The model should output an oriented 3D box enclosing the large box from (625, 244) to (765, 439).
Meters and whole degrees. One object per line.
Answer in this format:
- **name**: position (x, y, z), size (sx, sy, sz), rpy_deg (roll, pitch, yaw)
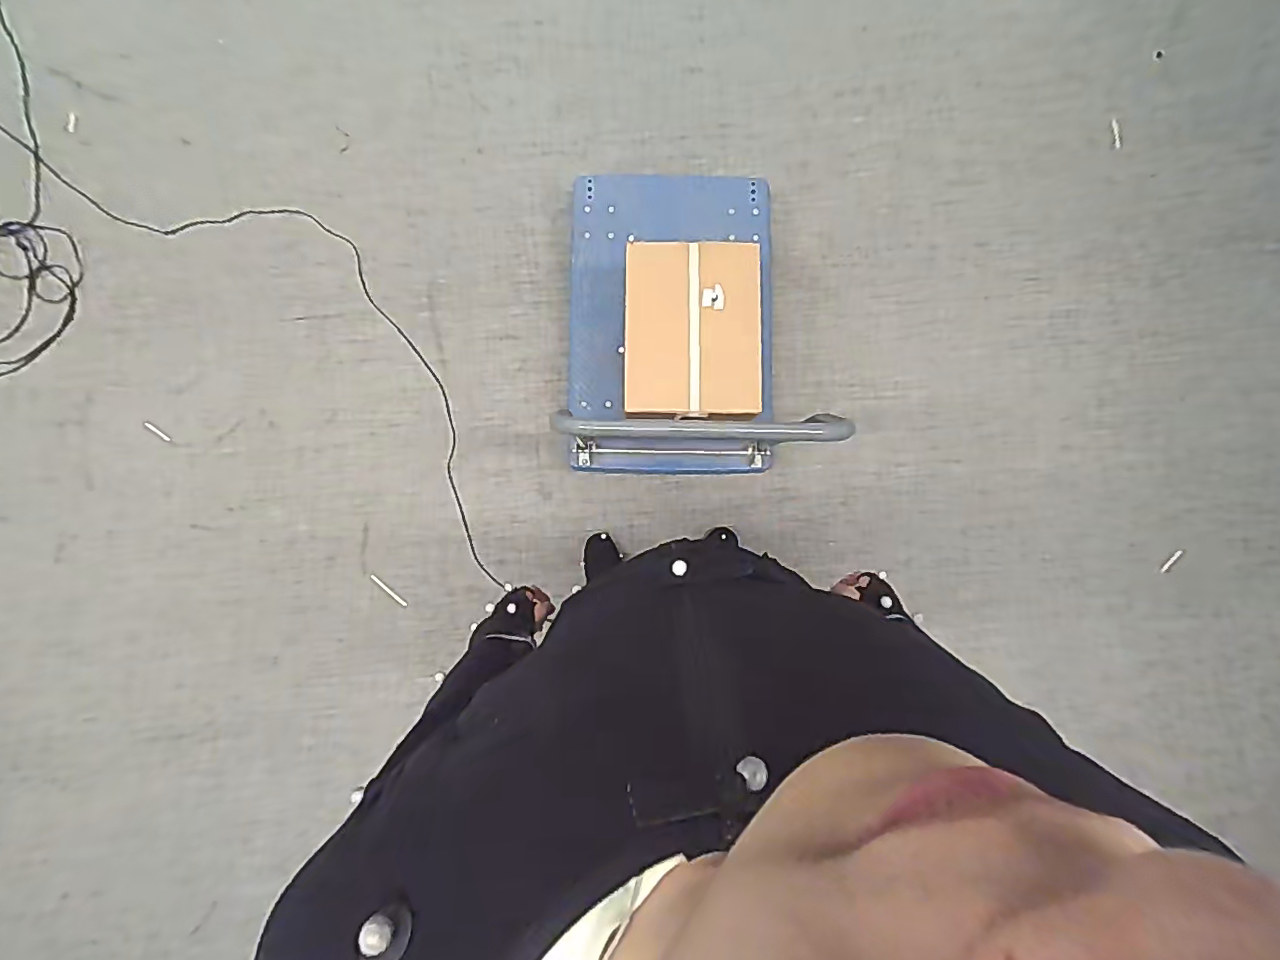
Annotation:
- **large box**: position (0.122, -0.327, 1.369), size (0.320, 0.320, 0.408), rpy_deg (0, 83, -1)
